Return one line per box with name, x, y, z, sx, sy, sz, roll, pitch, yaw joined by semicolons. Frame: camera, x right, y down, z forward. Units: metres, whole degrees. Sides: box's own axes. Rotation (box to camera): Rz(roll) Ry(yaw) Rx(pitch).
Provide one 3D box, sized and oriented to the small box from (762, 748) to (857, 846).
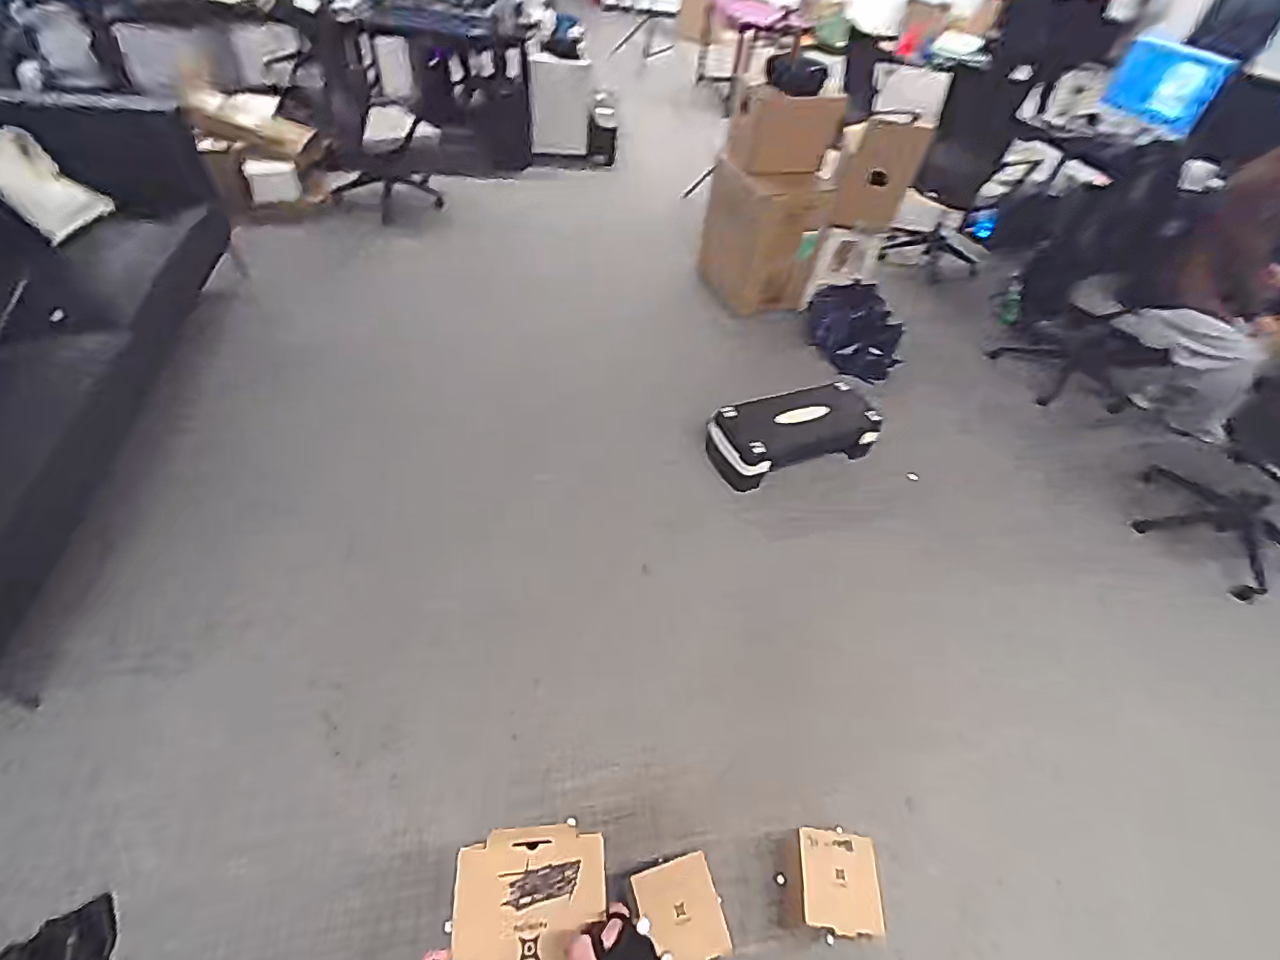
small box;0.397;0.761;1.293;0.168;0.176;0.179;9;55;-2
